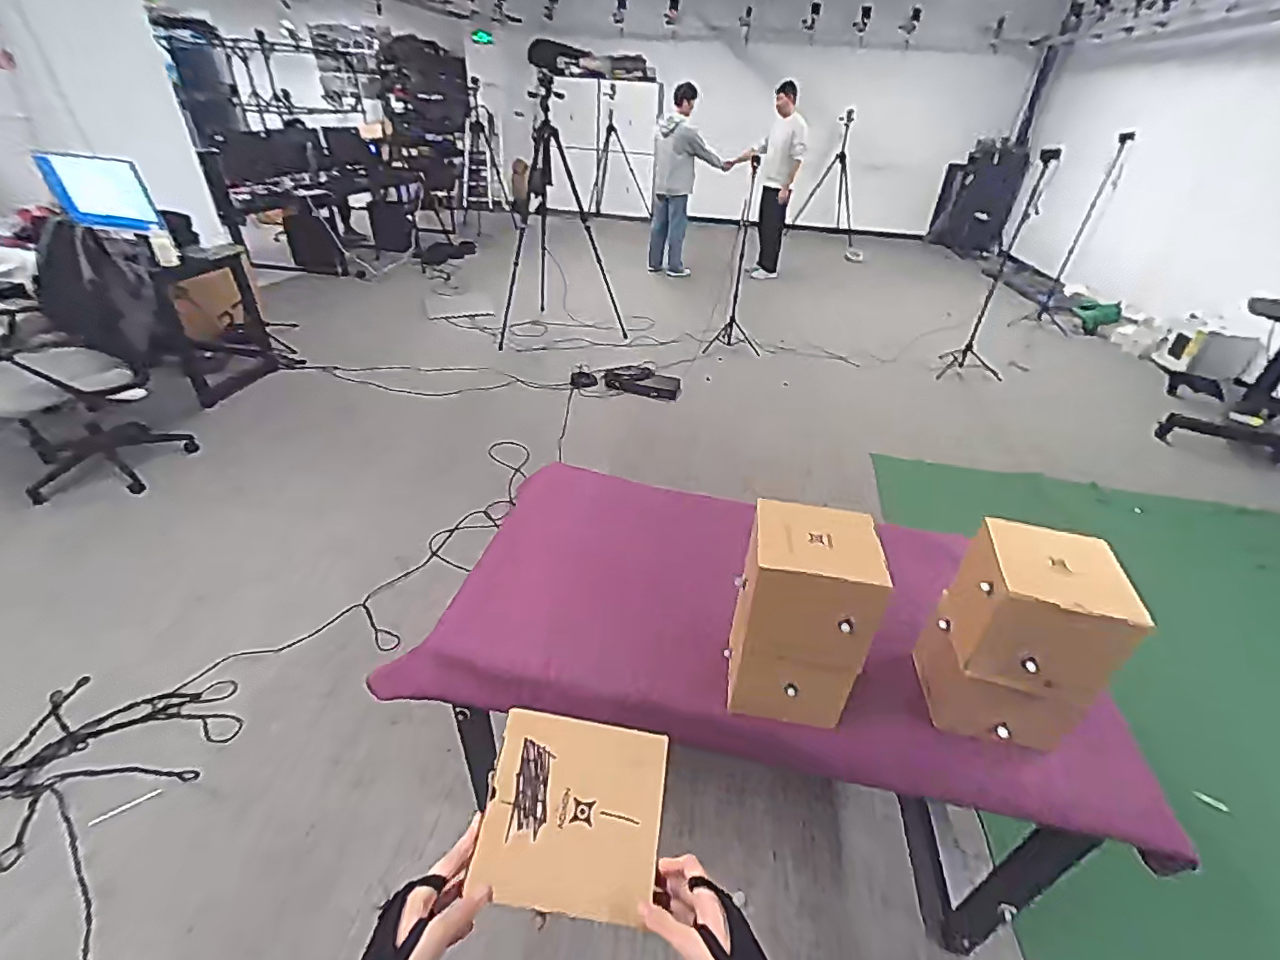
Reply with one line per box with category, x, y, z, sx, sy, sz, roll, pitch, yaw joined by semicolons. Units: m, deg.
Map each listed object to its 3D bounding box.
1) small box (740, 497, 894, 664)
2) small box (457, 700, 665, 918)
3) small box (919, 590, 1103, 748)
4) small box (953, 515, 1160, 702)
small box;0.252;0.149;0.808;0.179;0.176;0.168;7;32;9
small box;-0.080;0.362;0.591;0.179;0.176;0.168;11;51;-2
small box;0.589;0.309;0.888;0.179;0.176;0.168;7;32;9
small box;0.578;0.181;0.784;0.168;0.176;0.179;12;35;15
